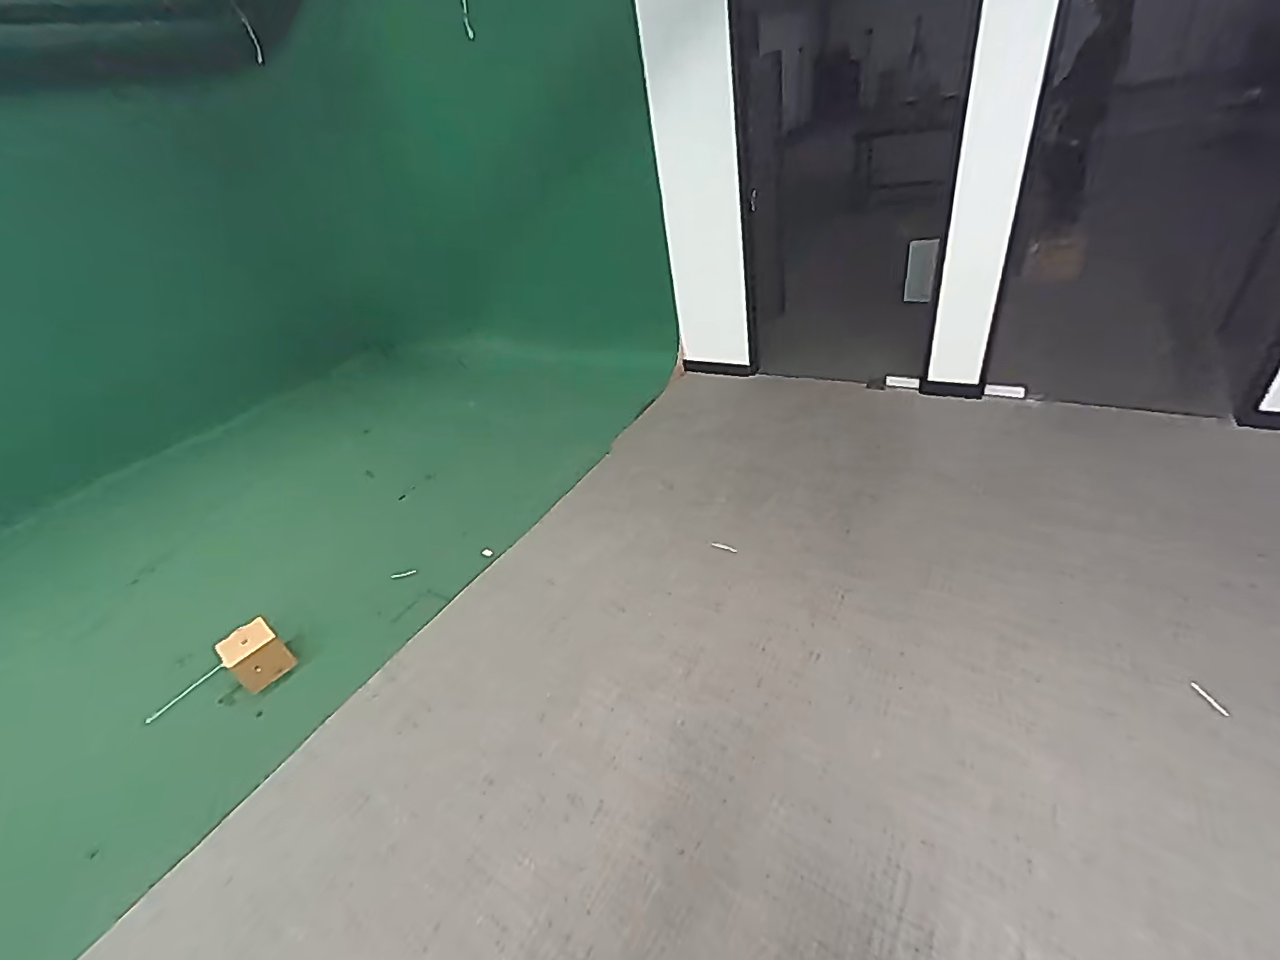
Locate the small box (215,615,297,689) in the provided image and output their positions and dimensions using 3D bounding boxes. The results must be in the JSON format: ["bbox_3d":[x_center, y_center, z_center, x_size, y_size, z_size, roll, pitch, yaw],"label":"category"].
[{"bbox_3d":[-1.422,0.645,2.009,0.179,0.176,0.168,20,45,37],"label":"small box"}]
